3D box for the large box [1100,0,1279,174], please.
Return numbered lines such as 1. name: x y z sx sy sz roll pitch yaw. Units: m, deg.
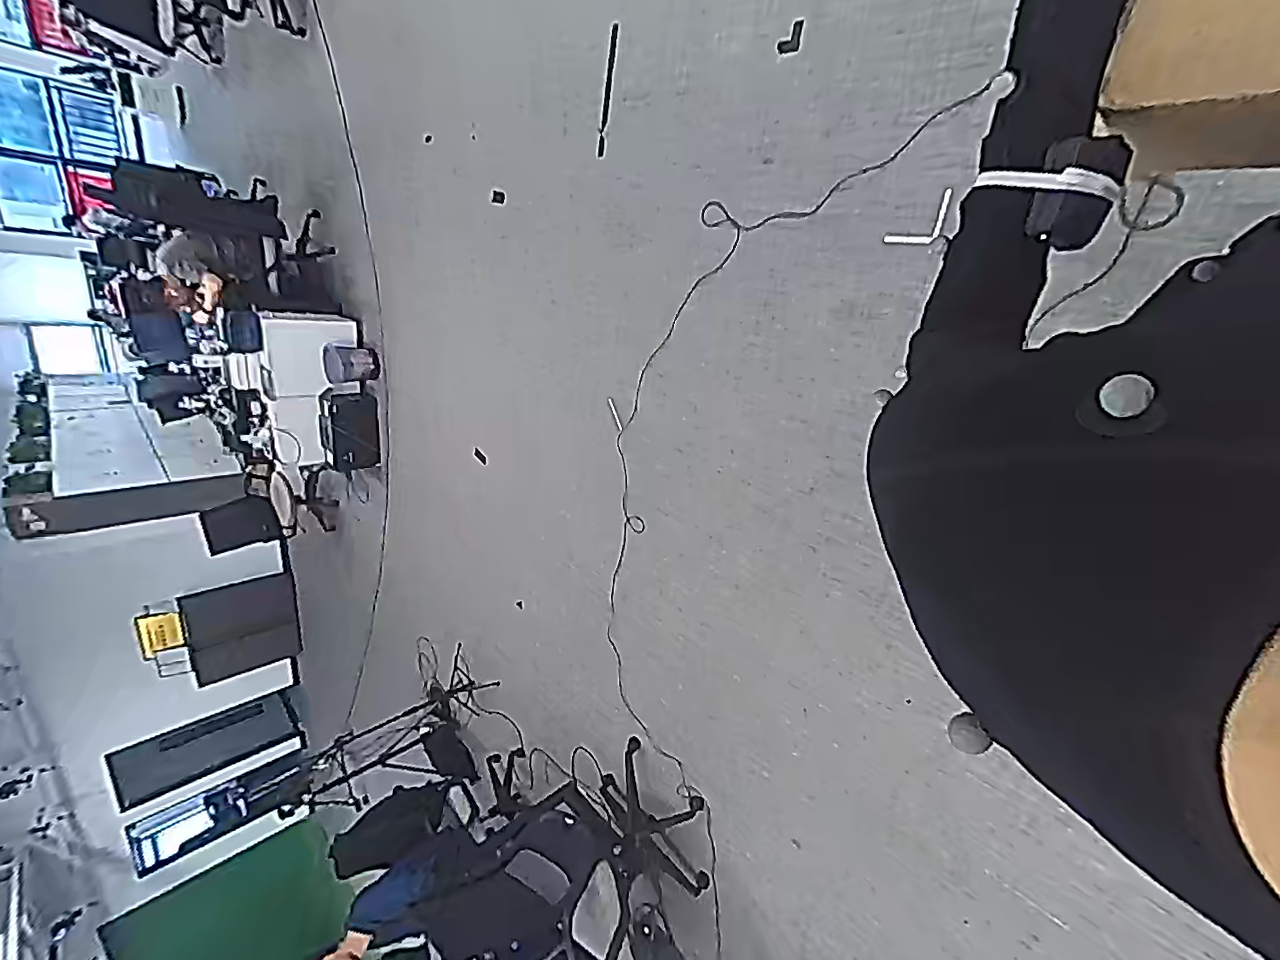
1. large box: 0.567 -0.379 0.303 0.408 0.320 0.320 22 120 37
